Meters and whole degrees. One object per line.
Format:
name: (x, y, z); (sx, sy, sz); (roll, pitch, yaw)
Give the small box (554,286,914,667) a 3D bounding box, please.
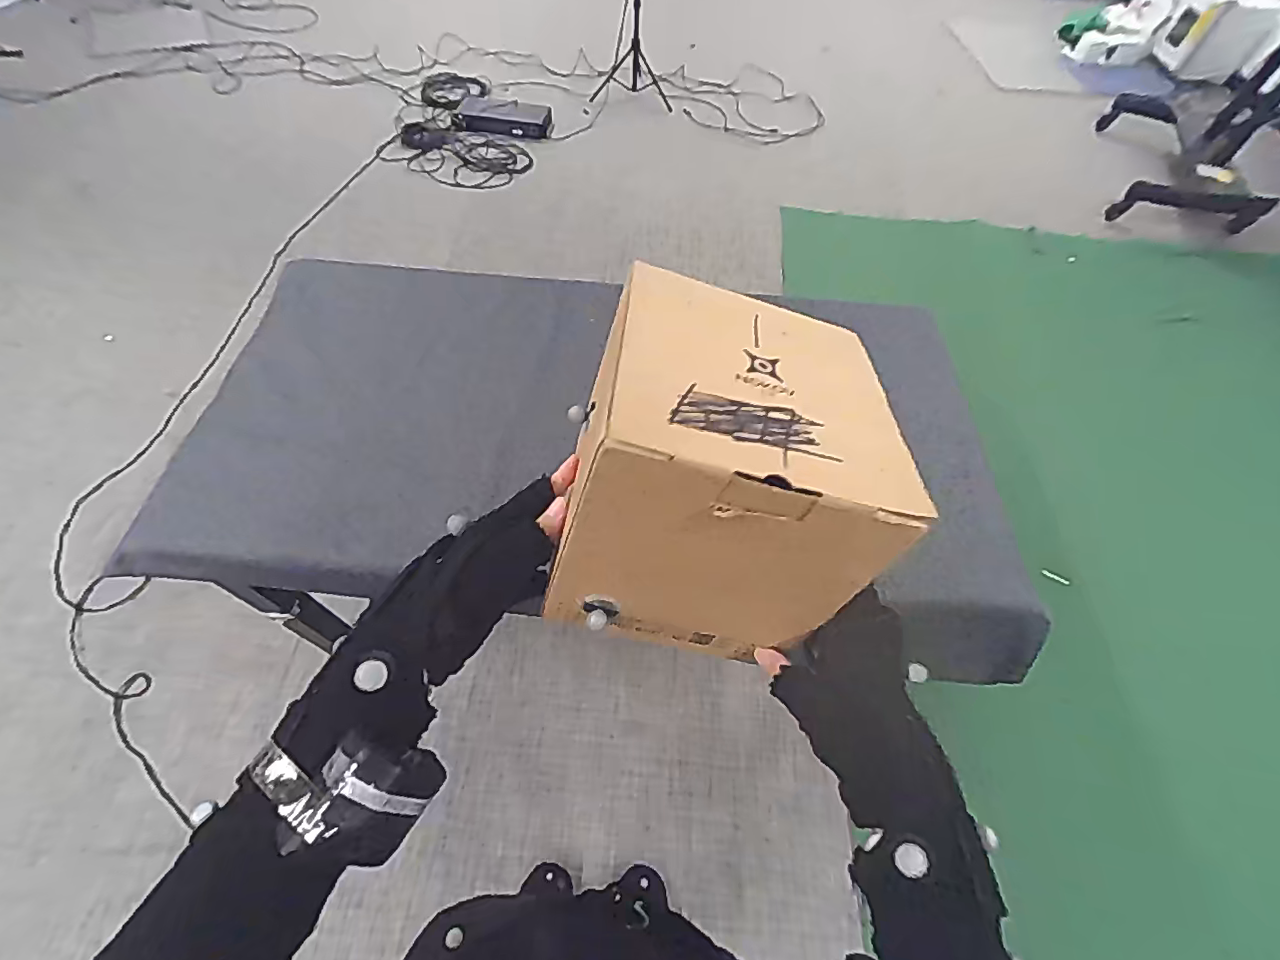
small box: (0.044, 0.004, 0.371); (0.168, 0.176, 0.179); (15, 44, -9)
